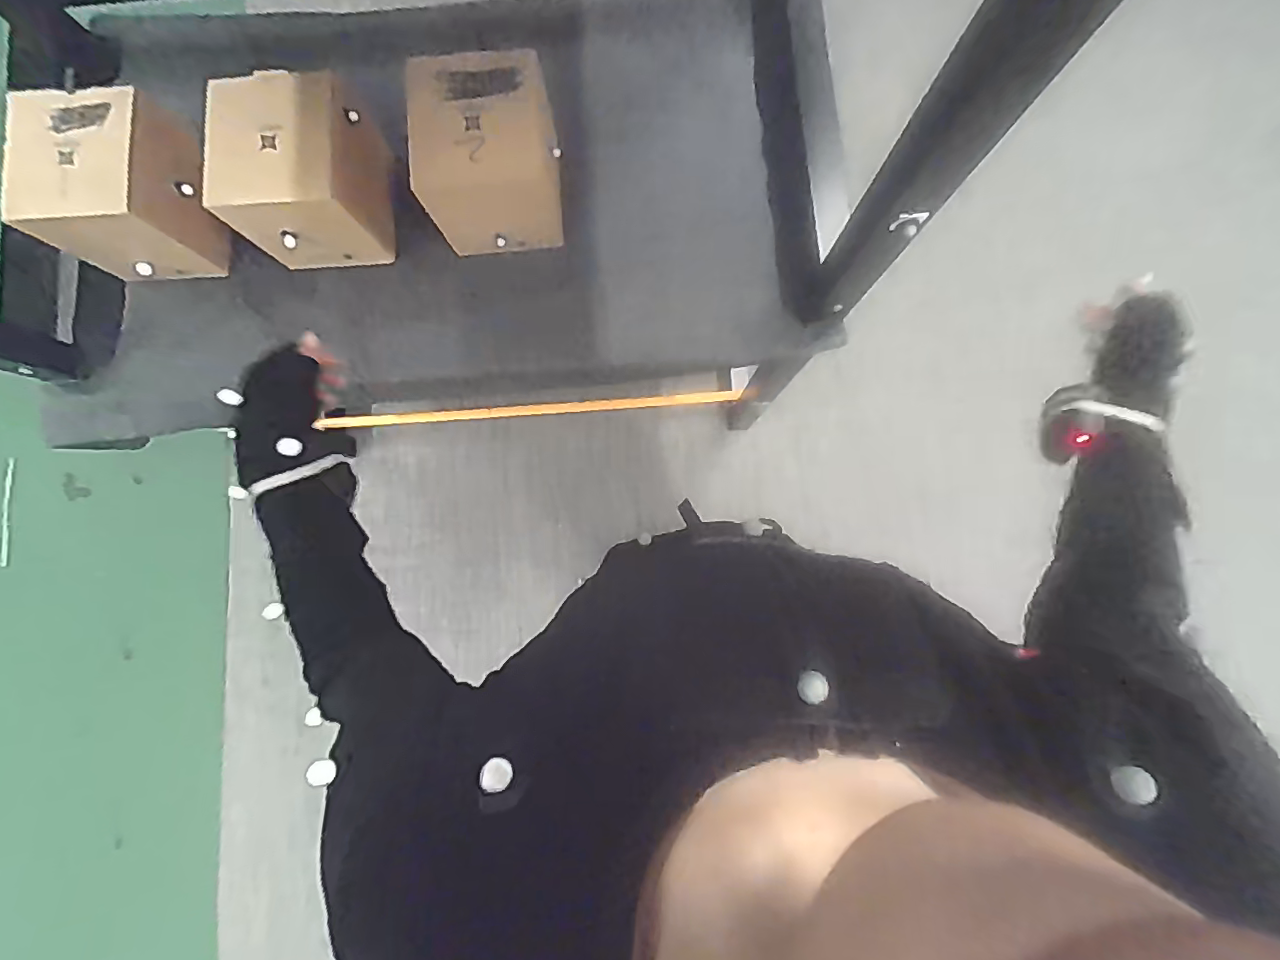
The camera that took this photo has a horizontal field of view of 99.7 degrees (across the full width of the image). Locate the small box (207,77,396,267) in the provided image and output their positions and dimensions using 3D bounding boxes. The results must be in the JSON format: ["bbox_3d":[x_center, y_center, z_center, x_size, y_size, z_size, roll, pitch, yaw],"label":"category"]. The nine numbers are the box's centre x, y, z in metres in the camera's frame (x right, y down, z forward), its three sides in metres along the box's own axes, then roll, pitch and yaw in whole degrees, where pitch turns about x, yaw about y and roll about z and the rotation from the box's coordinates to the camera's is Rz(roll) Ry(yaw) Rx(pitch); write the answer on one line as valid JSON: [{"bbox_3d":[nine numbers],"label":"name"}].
[{"bbox_3d":[-0.462,-0.416,0.762,0.168,0.176,0.179,-3,84,1],"label":"small box"}]

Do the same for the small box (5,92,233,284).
[{"bbox_3d":[-0.714,-0.401,0.765,0.168,0.176,0.179,-3,84,1],"label":"small box"}]
